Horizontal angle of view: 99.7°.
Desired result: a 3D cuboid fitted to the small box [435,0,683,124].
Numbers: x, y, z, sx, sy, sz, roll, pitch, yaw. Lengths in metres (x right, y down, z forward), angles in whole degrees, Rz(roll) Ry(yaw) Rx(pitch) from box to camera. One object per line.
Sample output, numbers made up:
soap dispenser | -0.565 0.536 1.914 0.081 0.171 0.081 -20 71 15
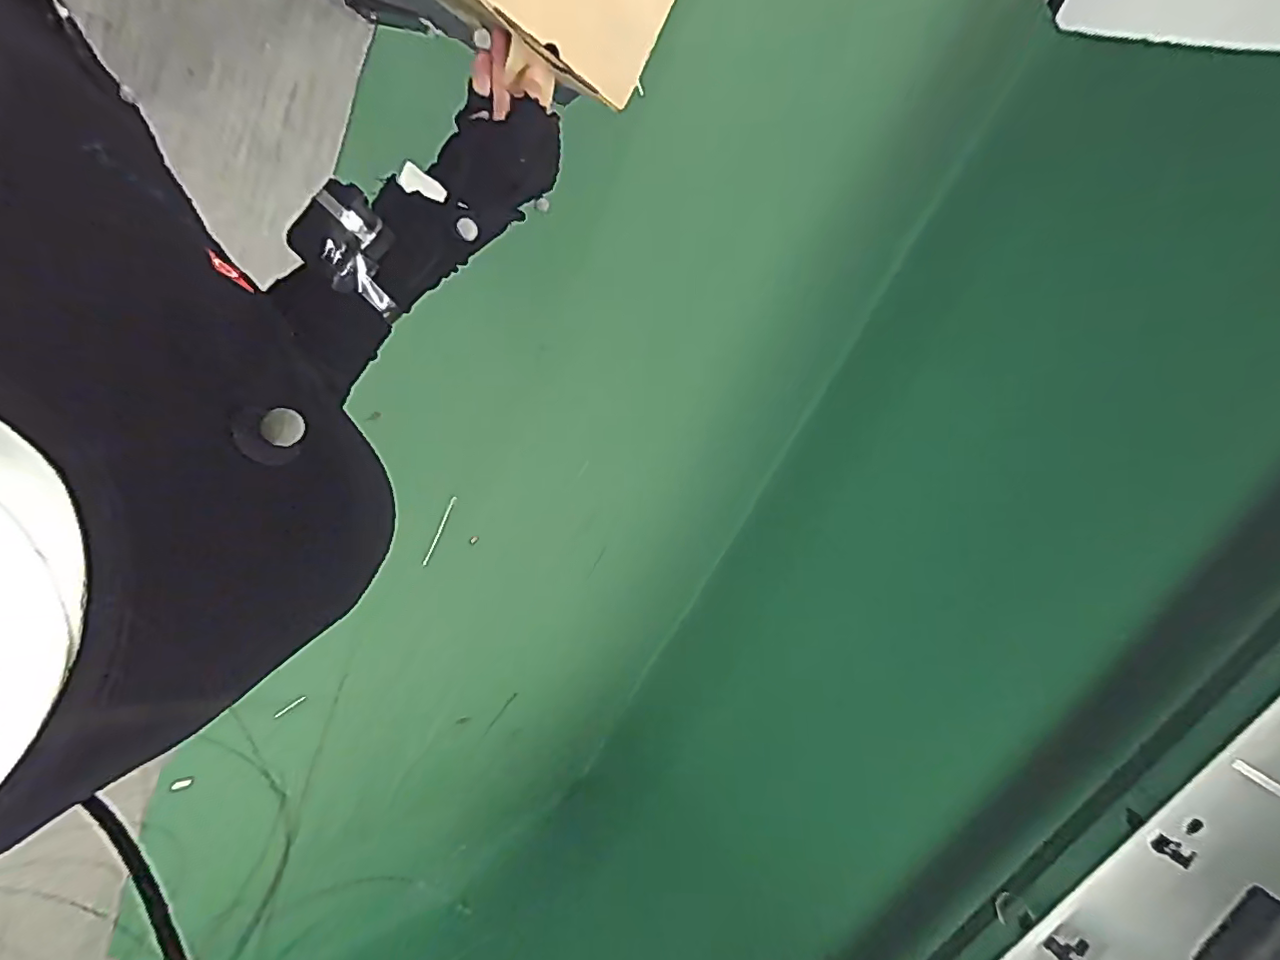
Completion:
small box | -0.072 -0.422 0.405 0.168 0.176 0.179 -3 132 -53
